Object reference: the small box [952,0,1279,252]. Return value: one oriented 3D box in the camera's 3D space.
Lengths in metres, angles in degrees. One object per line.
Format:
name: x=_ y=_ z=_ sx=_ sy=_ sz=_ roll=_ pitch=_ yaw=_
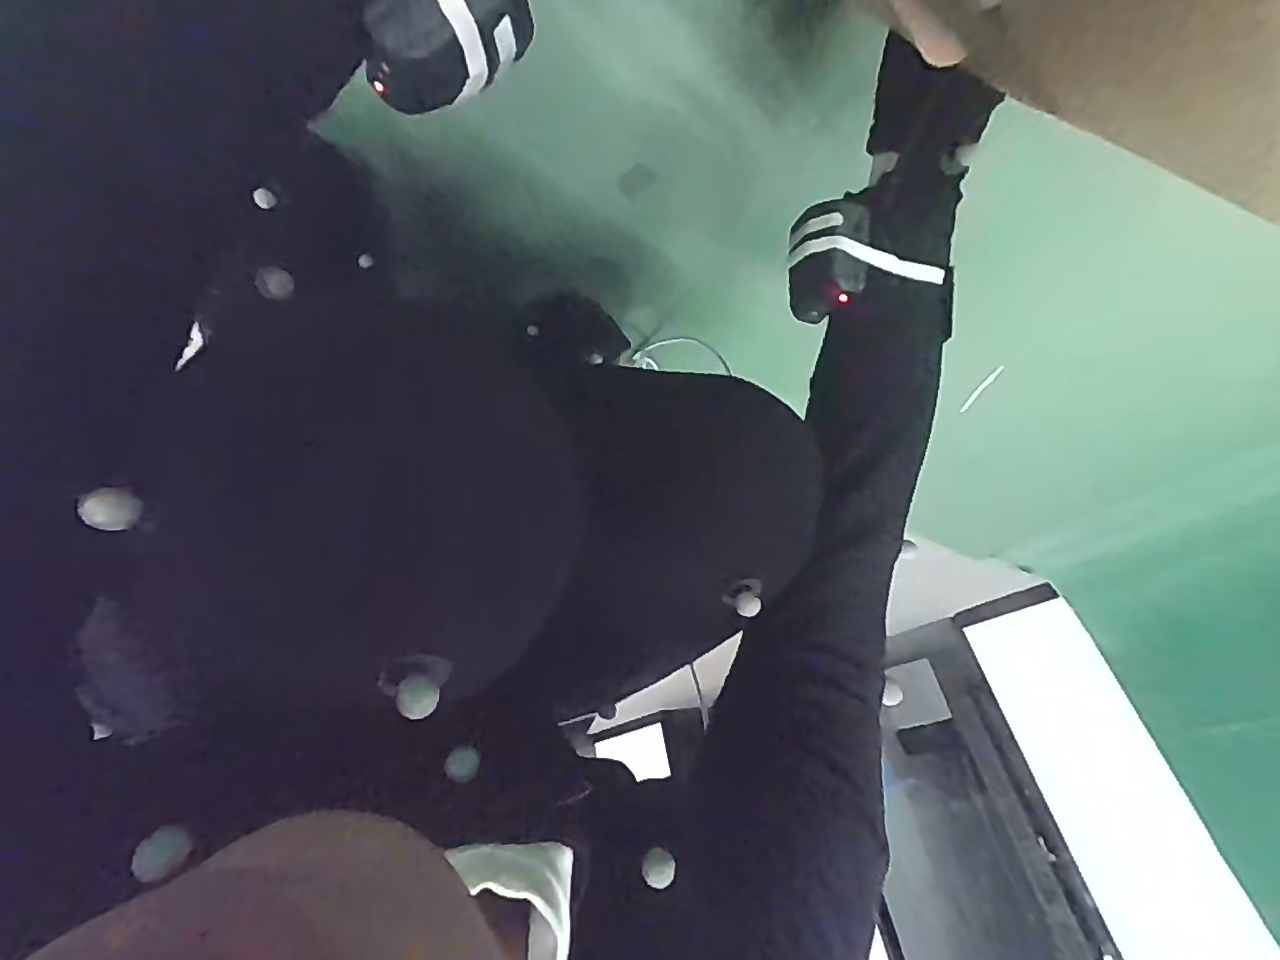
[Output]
small box: x=0.190 y=-0.187 z=0.119 sx=0.168 sy=0.176 sz=0.179 roll=16 pitch=132 yaw=-36
